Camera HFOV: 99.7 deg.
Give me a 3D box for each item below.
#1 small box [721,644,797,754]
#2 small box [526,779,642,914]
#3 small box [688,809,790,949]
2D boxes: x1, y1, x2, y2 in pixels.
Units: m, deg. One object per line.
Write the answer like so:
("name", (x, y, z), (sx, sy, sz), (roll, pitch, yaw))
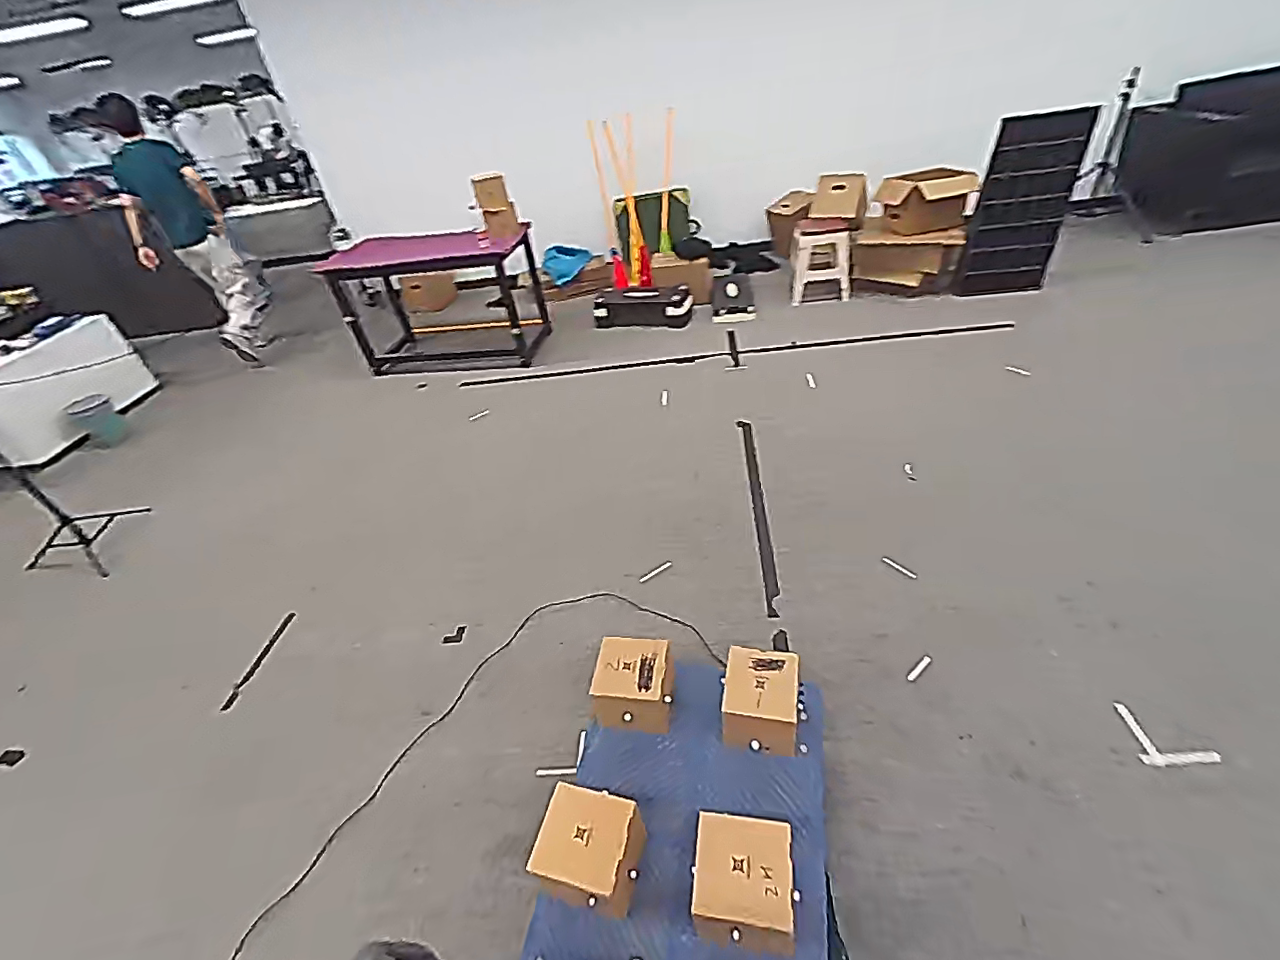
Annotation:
("small box", (0.289, 0.529, 1.311), (0.168, 0.176, 0.179), (3, 41, 15))
("small box", (-0.106, 0.754, 1.112), (0.179, 0.176, 0.168), (6, 40, 16))
("small box", (0.194, 0.764, 1.035), (0.179, 0.176, 0.168), (1, 39, 13))
